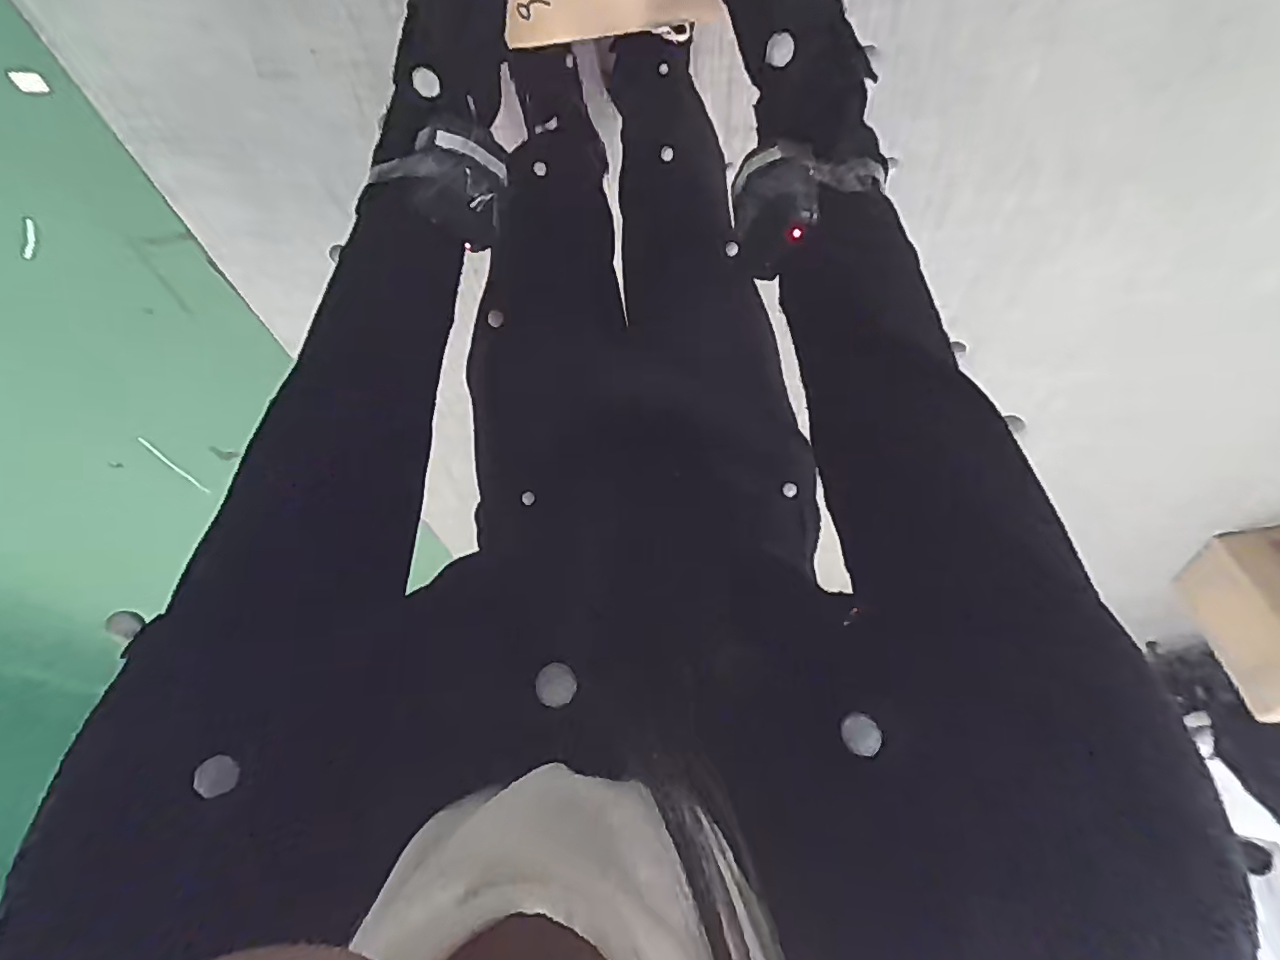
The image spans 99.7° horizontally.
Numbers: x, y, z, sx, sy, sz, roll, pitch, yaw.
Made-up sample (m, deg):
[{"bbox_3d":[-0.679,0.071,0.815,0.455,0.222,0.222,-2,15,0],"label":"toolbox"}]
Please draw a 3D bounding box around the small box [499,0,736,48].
[{"bbox_3d":[-0.027,-0.451,0.387,0.179,0.176,0.168,-6,146,3],"label":"small box"}]
